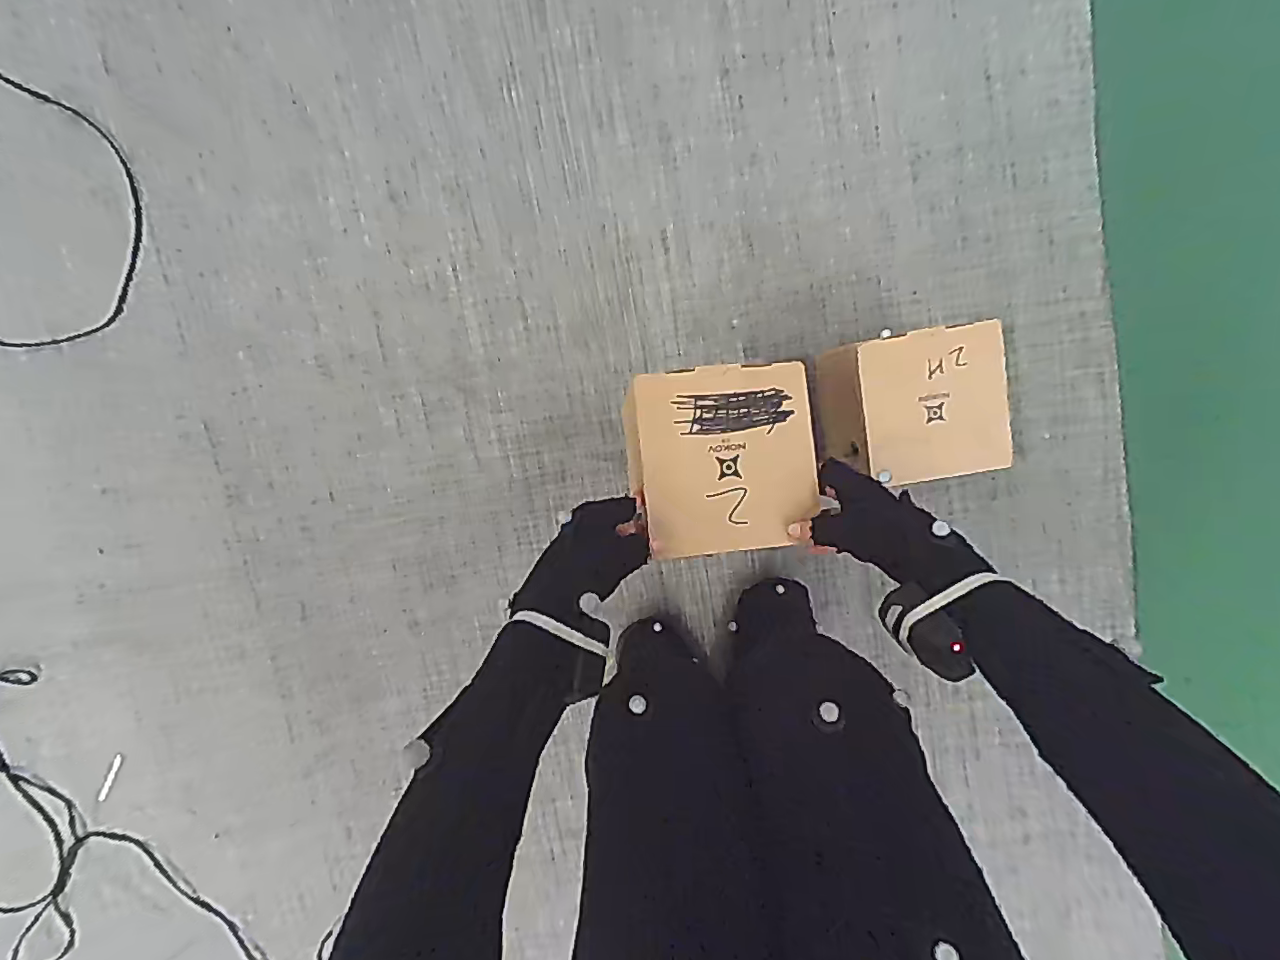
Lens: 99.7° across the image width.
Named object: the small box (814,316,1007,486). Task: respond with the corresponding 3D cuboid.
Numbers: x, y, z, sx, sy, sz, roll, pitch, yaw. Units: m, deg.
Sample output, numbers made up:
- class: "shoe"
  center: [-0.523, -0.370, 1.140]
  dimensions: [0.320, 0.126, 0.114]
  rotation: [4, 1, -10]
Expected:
- class: "small box"
  center: [0.338, -0.100, 0.703]
  dimensions: [0.168, 0.176, 0.179]
  rotation: [-10, 97, 3]
